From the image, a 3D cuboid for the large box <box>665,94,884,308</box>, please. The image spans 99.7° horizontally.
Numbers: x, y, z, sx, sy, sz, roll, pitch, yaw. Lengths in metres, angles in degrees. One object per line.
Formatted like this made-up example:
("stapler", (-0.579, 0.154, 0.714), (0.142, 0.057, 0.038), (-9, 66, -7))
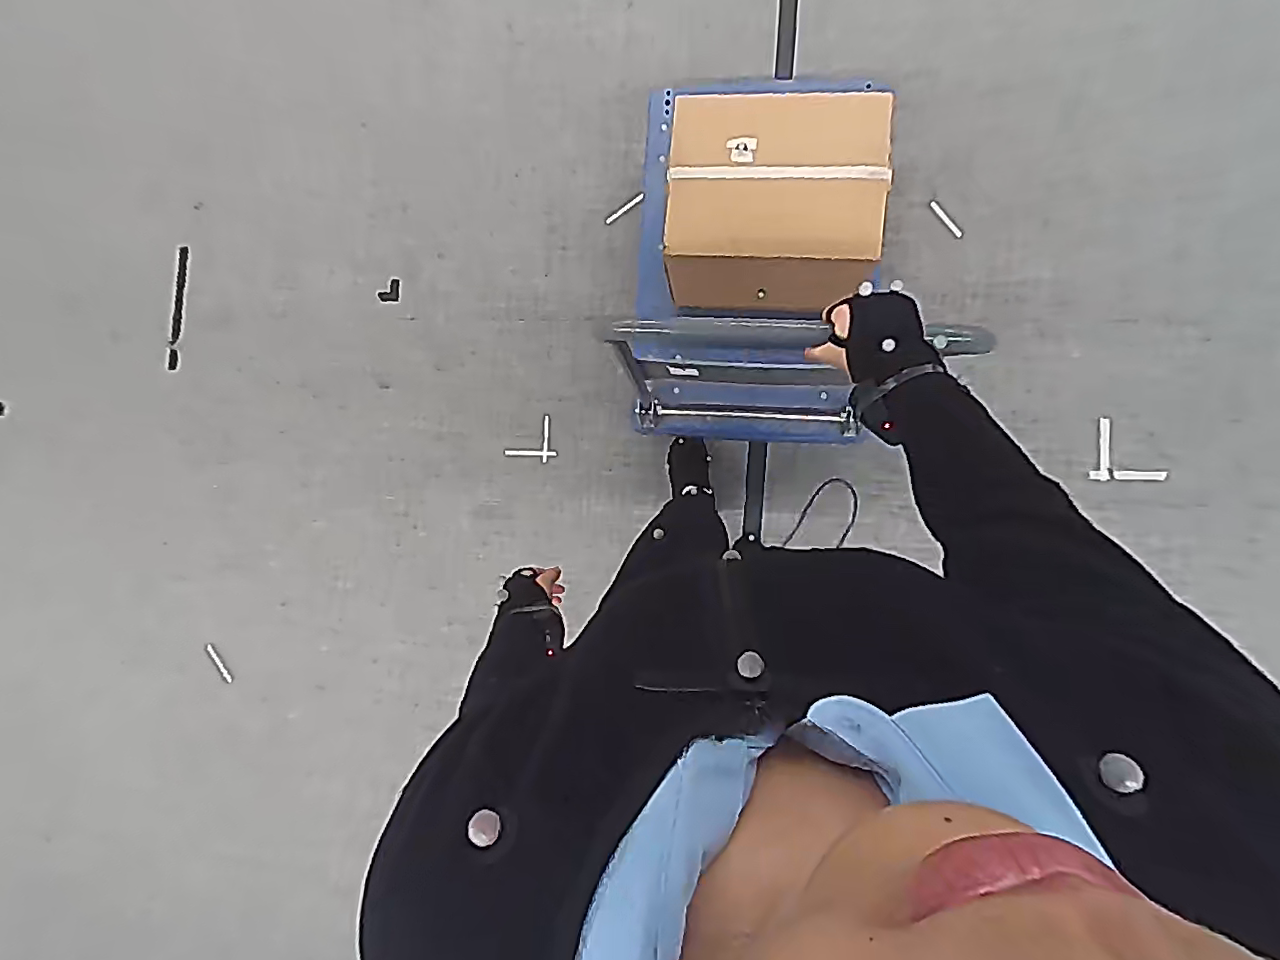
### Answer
("large box", (0.278, -0.576, 1.183), (0.408, 0.320, 0.320), (4, 88, 9))
